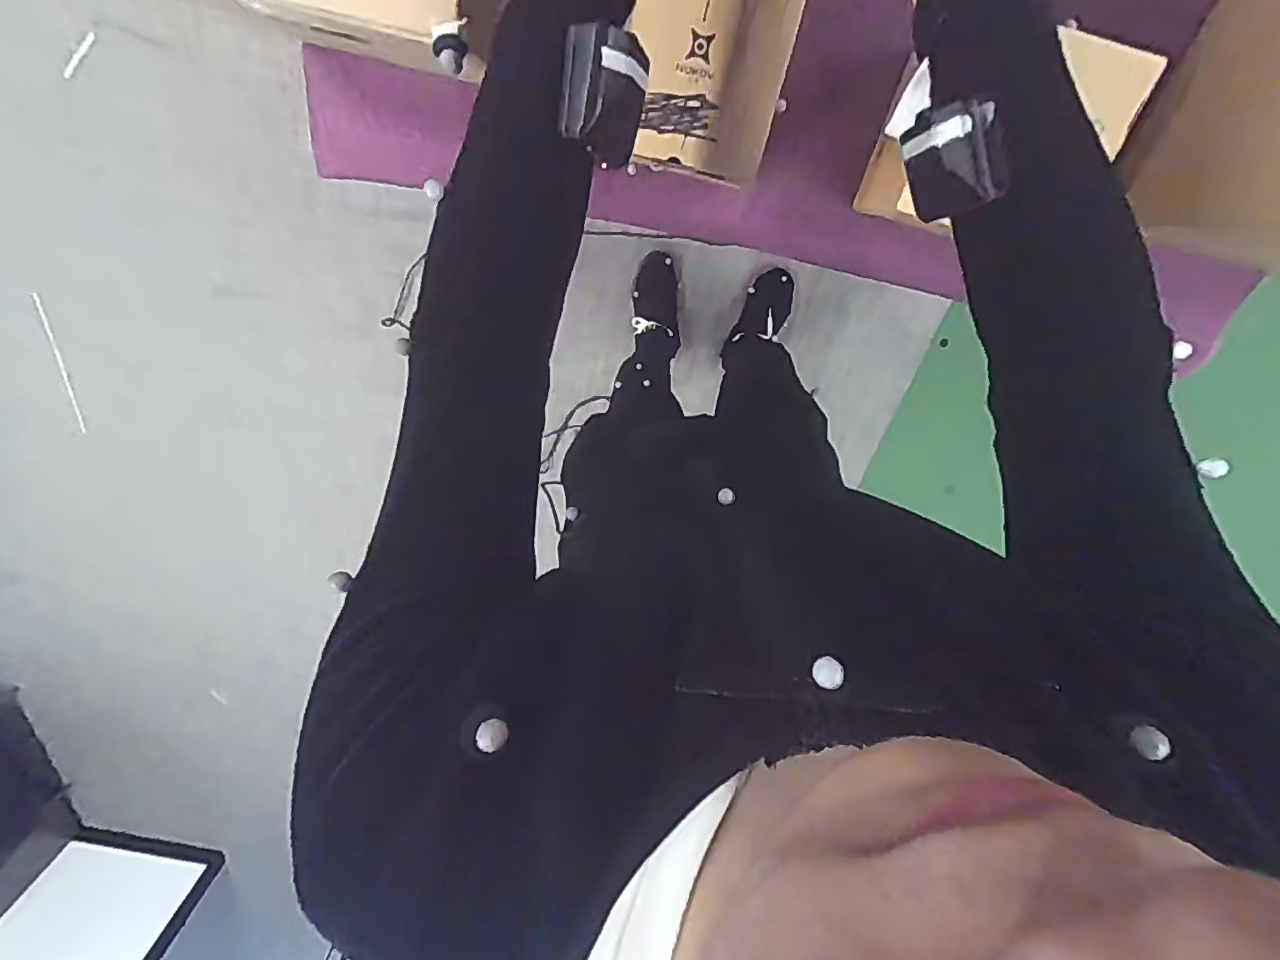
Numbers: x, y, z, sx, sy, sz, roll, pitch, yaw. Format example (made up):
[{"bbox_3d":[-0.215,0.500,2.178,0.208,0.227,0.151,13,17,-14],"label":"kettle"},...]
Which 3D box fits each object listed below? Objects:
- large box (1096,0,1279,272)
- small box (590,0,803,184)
[{"bbox_3d":[0.729,-0.381,0.444,0.320,0.320,0.408,14,120,-2],"label":"large box"},{"bbox_3d":[0.054,-0.419,0.555,0.168,0.176,0.179,13,118,-3],"label":"small box"}]
